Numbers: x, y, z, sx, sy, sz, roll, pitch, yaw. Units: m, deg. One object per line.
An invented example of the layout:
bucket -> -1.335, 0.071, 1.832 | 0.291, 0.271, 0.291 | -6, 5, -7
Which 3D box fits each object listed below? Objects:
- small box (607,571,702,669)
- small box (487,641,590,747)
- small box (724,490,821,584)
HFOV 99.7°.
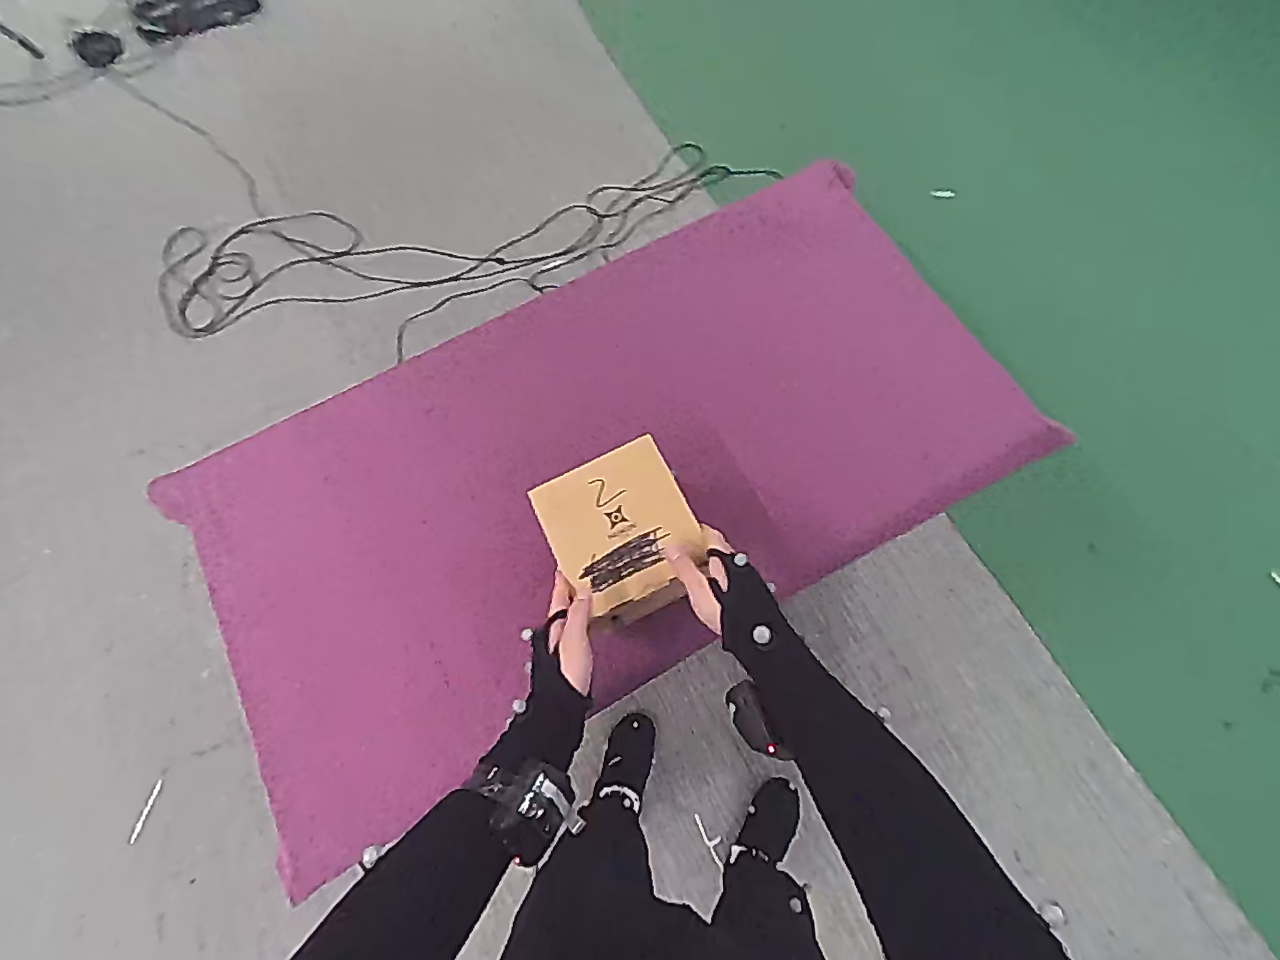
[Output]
small box -> 0.035, 0.357, 1.368 | 0.179, 0.176, 0.168 | -35, 73, -9
small box -> -0.239, 0.513, 1.323 | 0.168, 0.176, 0.179 | -37, 74, -10
small box -> 0.341, 0.159, 1.423 | 0.168, 0.176, 0.179 | -31, 72, -9
